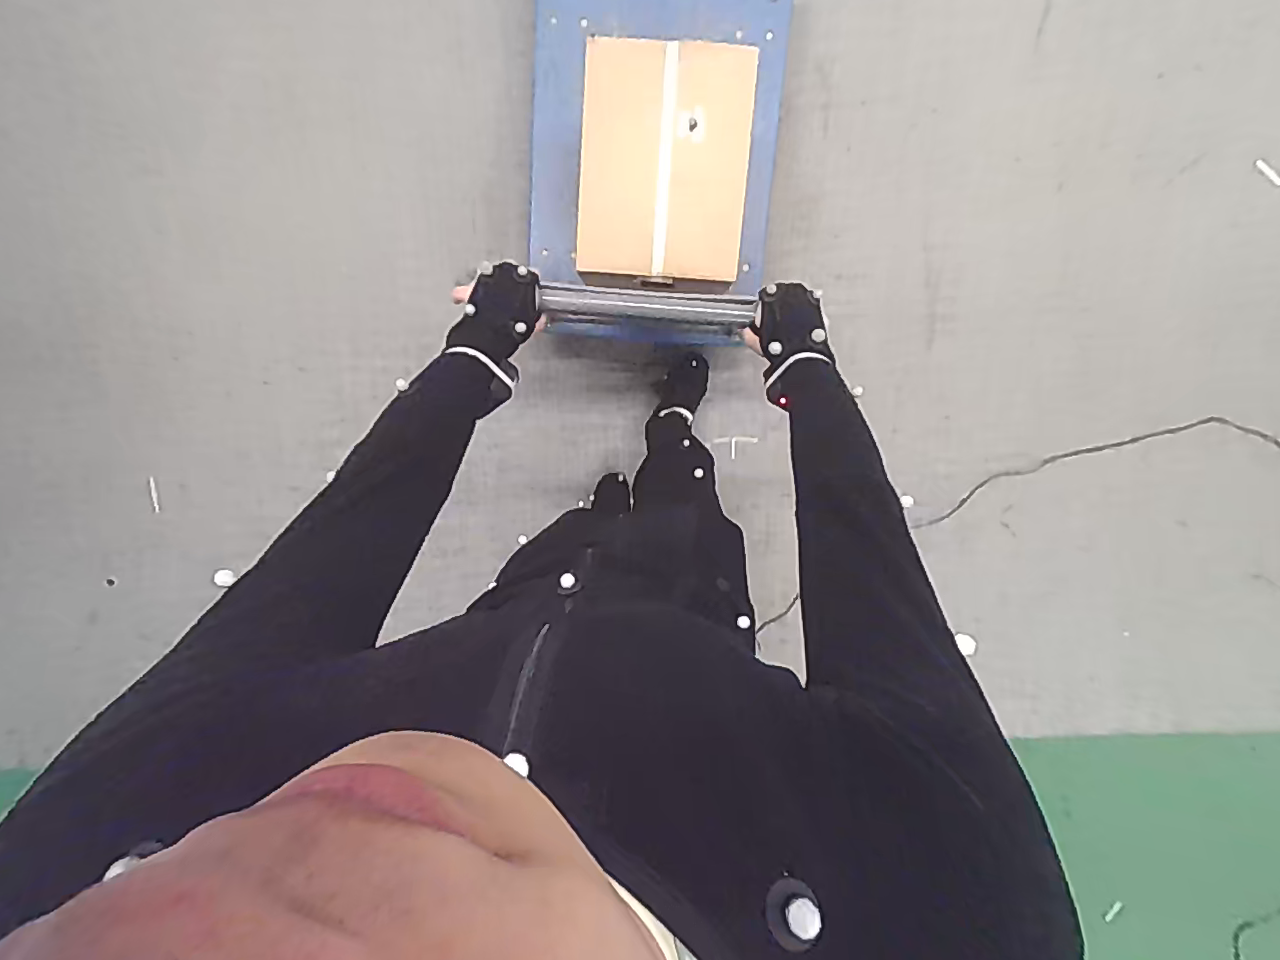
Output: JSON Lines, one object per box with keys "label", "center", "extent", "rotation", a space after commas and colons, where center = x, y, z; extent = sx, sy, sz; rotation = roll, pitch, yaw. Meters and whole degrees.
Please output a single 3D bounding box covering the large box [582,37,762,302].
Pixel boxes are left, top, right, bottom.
{"label": "large box", "center": [0.058, -0.610, 1.142], "extent": [0.320, 0.320, 0.408], "rotation": [4, 99, 0]}
